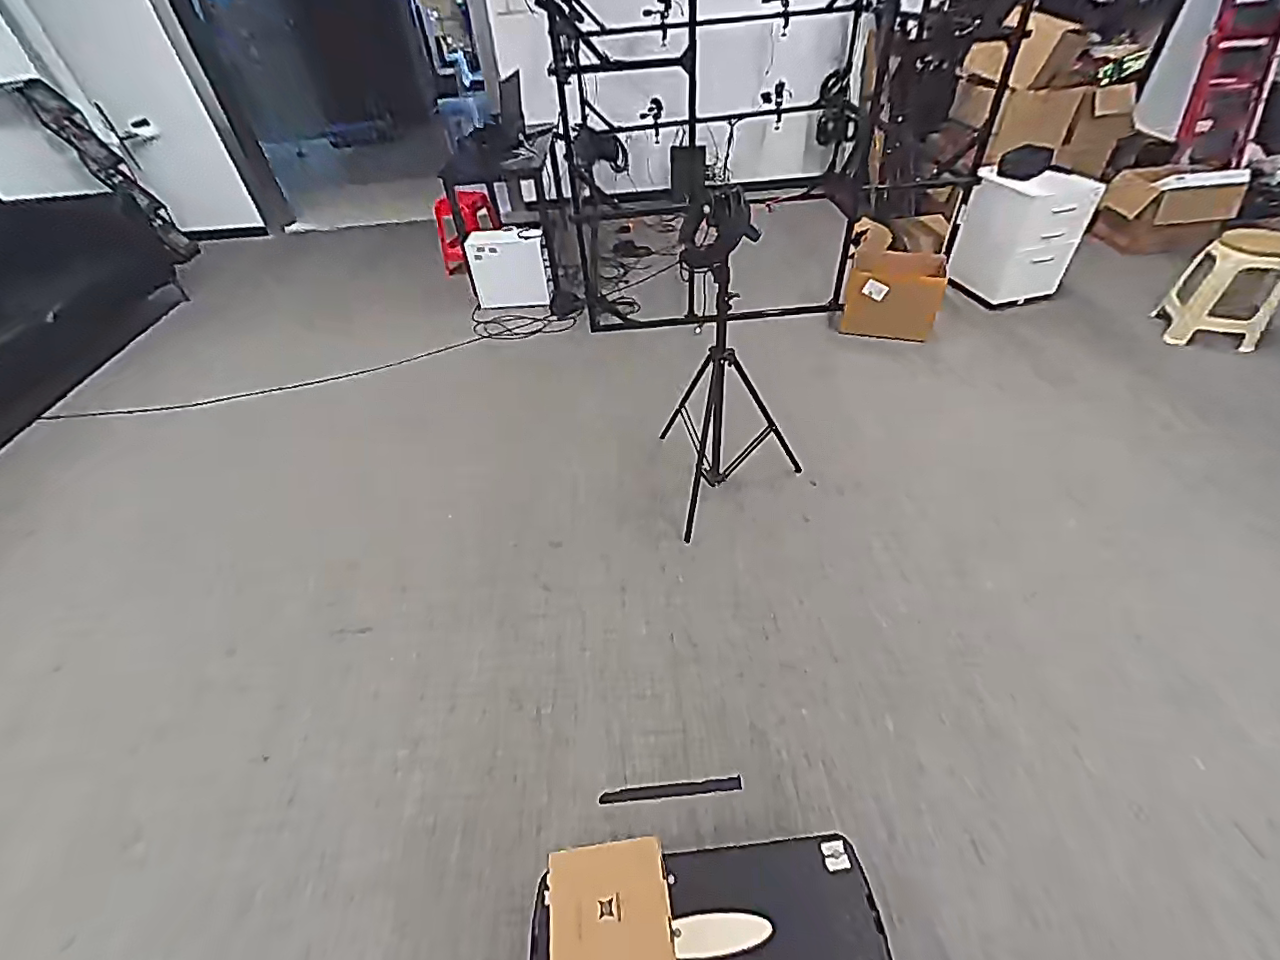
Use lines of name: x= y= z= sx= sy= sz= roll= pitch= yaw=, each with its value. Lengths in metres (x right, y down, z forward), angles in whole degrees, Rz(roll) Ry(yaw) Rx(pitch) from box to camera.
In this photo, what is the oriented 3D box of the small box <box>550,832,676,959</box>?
small box: x=-0.042 y=0.684 z=0.853 sx=0.179 sy=0.176 sz=0.168 roll=-8 pitch=42 yaw=-3
